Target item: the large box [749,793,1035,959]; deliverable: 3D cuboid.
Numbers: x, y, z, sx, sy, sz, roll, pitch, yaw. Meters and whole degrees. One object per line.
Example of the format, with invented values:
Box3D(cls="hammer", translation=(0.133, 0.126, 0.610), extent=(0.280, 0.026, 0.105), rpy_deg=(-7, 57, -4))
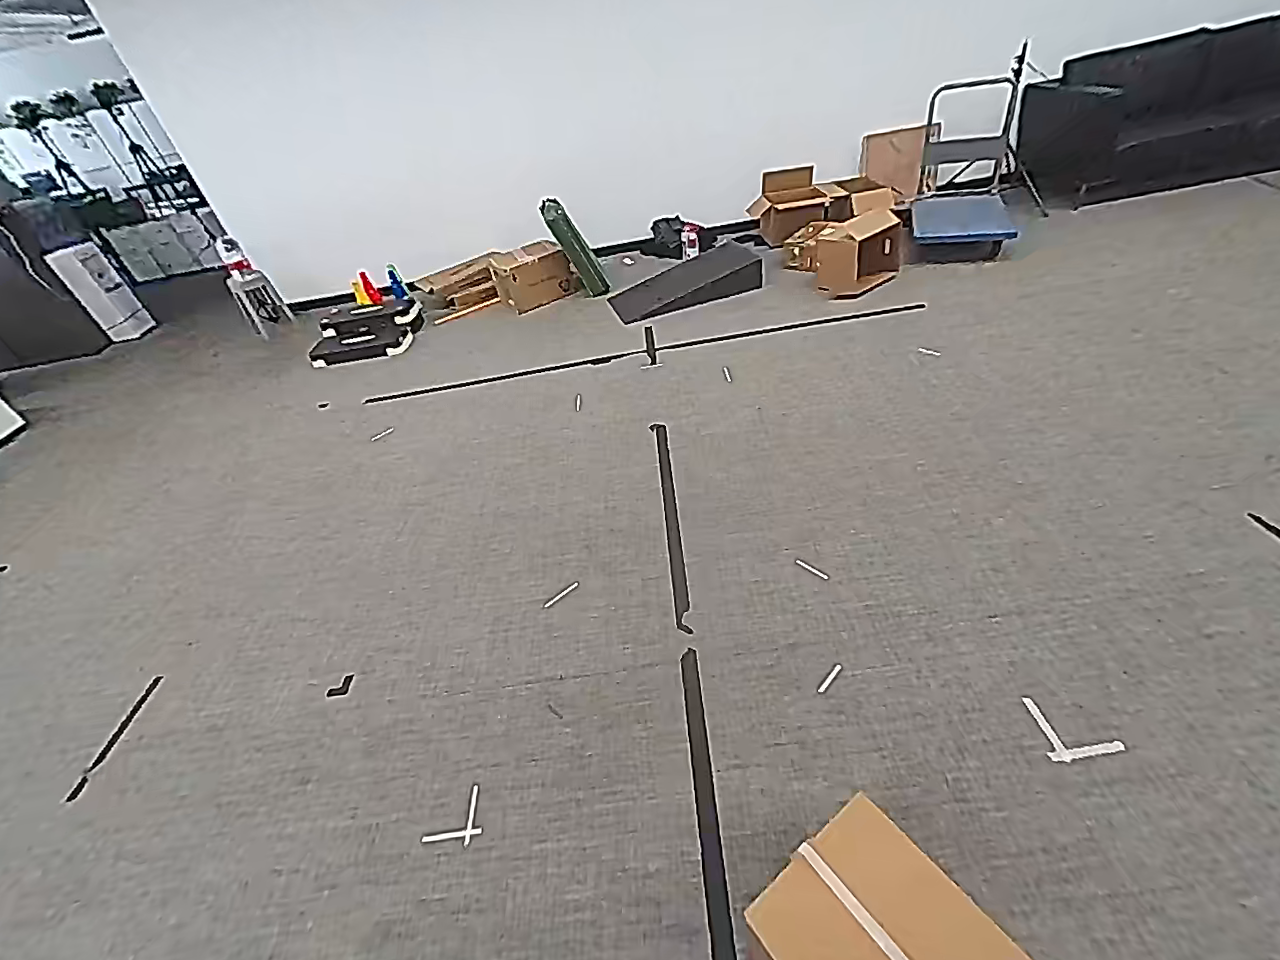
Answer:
Box3D(cls="large box", translation=(0.437, 0.868, 0.943), extent=(0.320, 0.320, 0.408), rpy_deg=(-30, 44, -22))
